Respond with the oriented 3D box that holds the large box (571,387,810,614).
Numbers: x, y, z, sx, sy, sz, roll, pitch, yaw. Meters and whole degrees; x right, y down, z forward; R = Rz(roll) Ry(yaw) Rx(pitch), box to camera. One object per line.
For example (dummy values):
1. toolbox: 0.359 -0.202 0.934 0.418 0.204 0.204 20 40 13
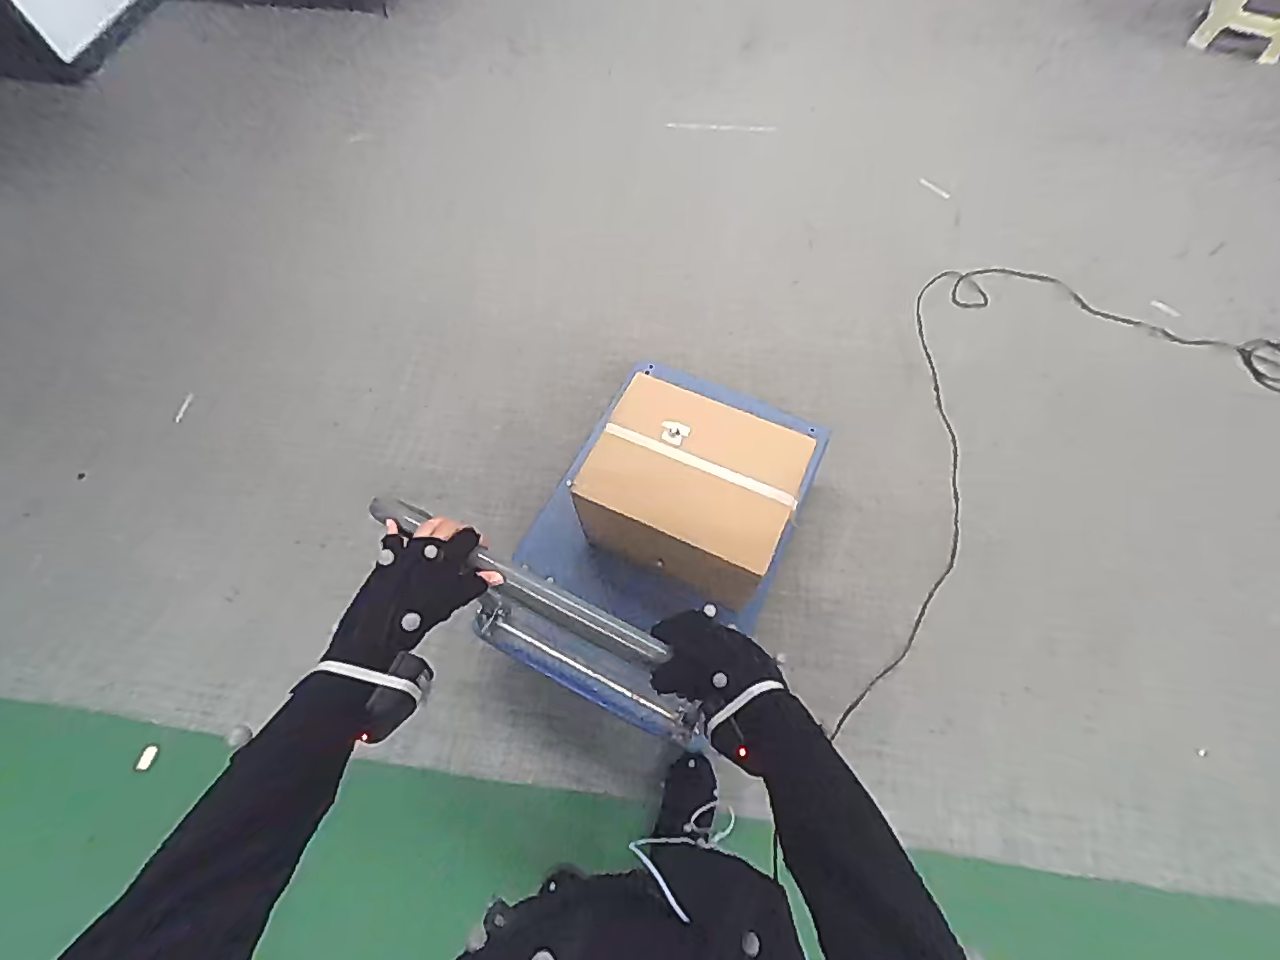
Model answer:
1. large box: 0.114 0.056 1.214 0.408 0.320 0.320 22 66 13
